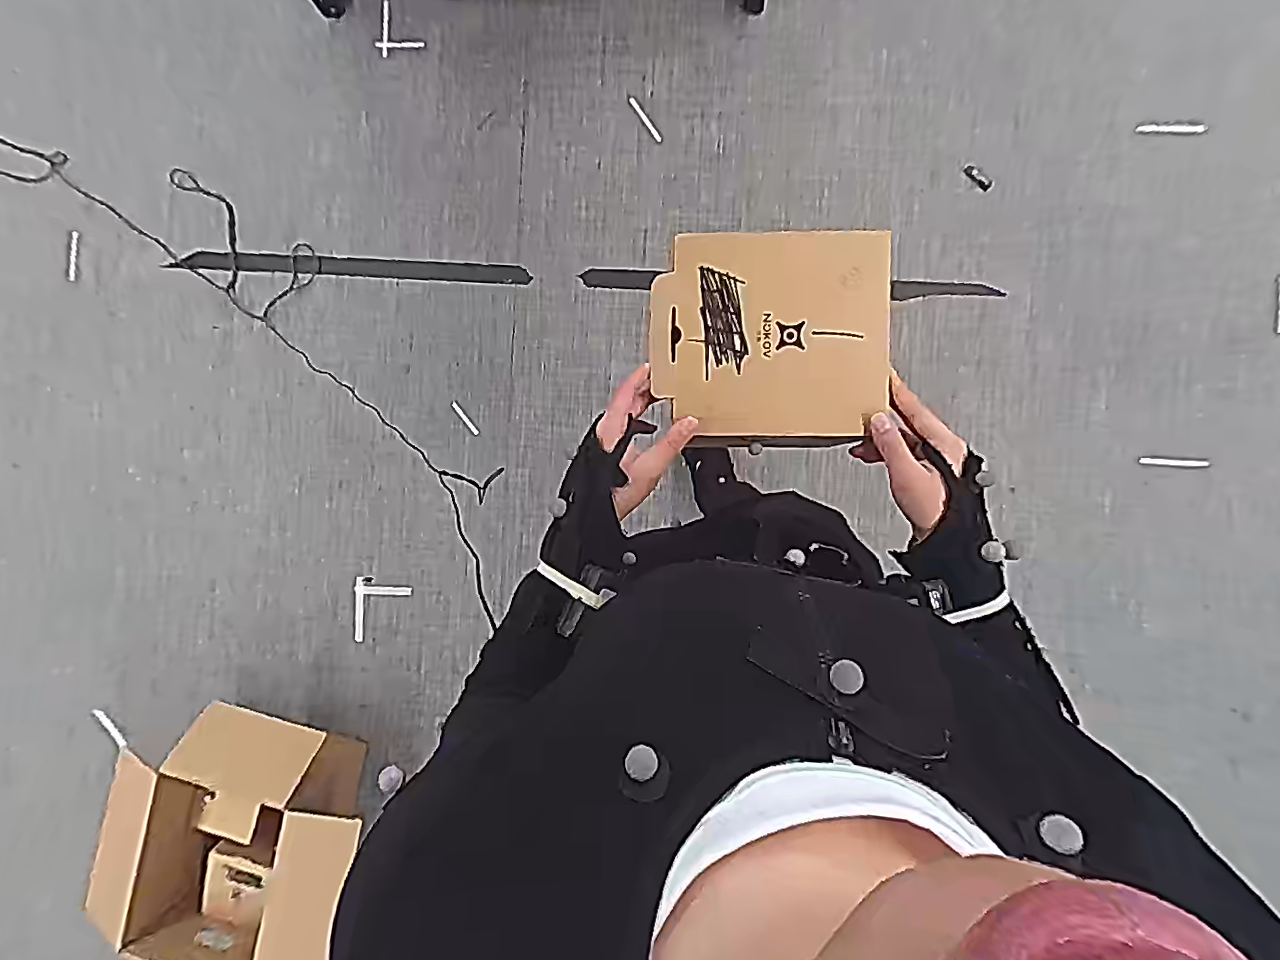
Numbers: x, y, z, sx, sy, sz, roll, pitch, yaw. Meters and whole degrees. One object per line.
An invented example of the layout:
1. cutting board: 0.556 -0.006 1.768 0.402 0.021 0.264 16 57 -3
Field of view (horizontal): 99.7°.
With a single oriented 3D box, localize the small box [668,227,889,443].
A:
1. small box: 0.116 -0.122 0.517 0.179 0.176 0.168 0 90 2
